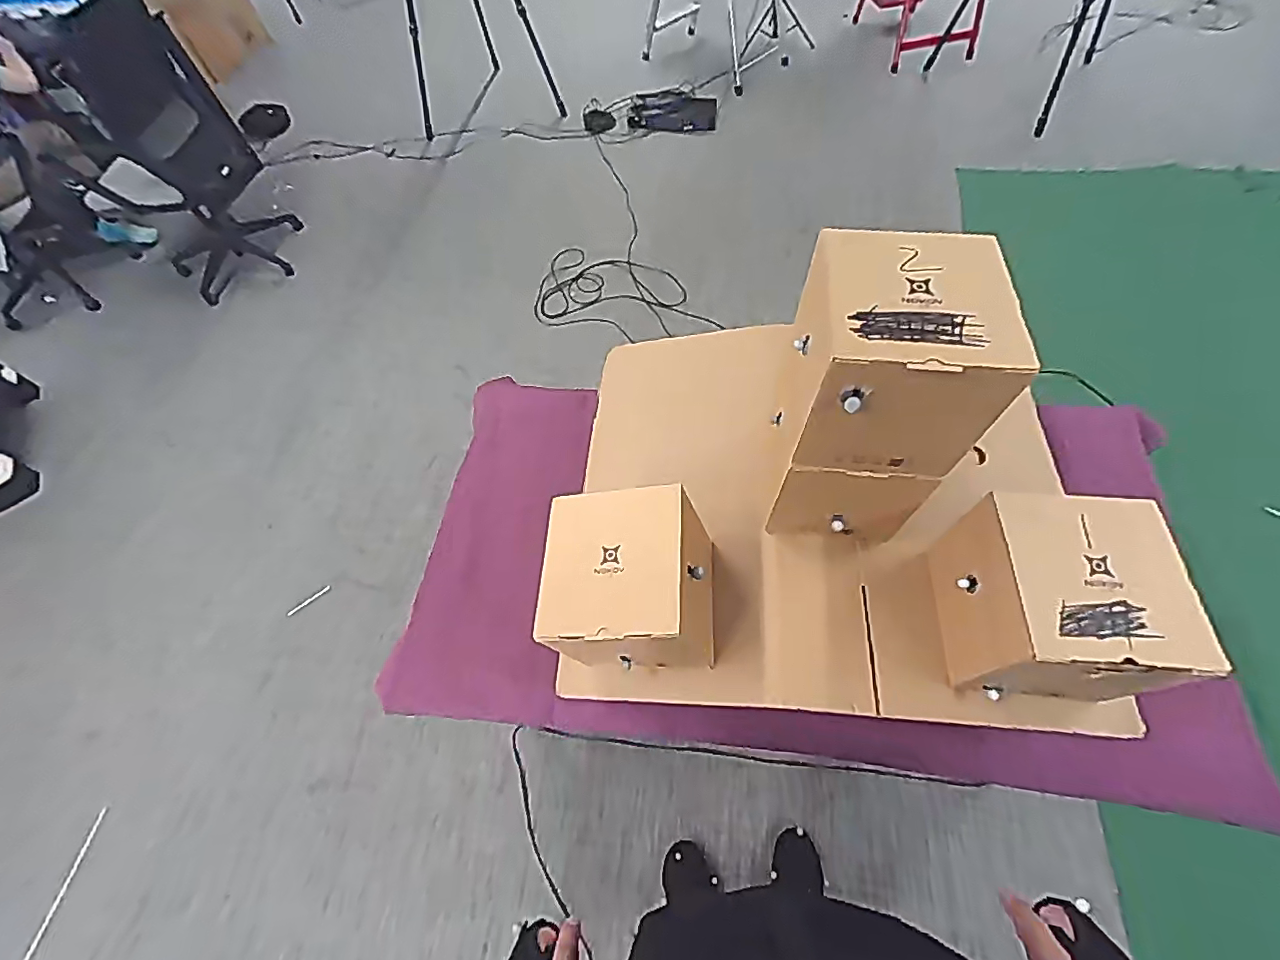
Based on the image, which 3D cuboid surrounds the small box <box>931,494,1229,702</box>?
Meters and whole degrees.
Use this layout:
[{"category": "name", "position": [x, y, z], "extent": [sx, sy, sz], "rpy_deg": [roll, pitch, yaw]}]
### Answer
[{"category": "small box", "position": [0.445, 0.135, 0.588], "extent": [0.168, 0.176, 0.179], "rpy_deg": [4, 60, 4]}]

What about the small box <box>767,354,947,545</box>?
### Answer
[{"category": "small box", "position": [0.258, -0.035, 0.692], "extent": [0.168, 0.176, 0.179], "rpy_deg": [4, 60, 5]}]

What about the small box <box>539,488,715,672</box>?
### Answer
[{"category": "small box", "position": [-0.004, 0.129, 0.663], "extent": [0.168, 0.176, 0.179], "rpy_deg": [-6, 61, 17]}]
